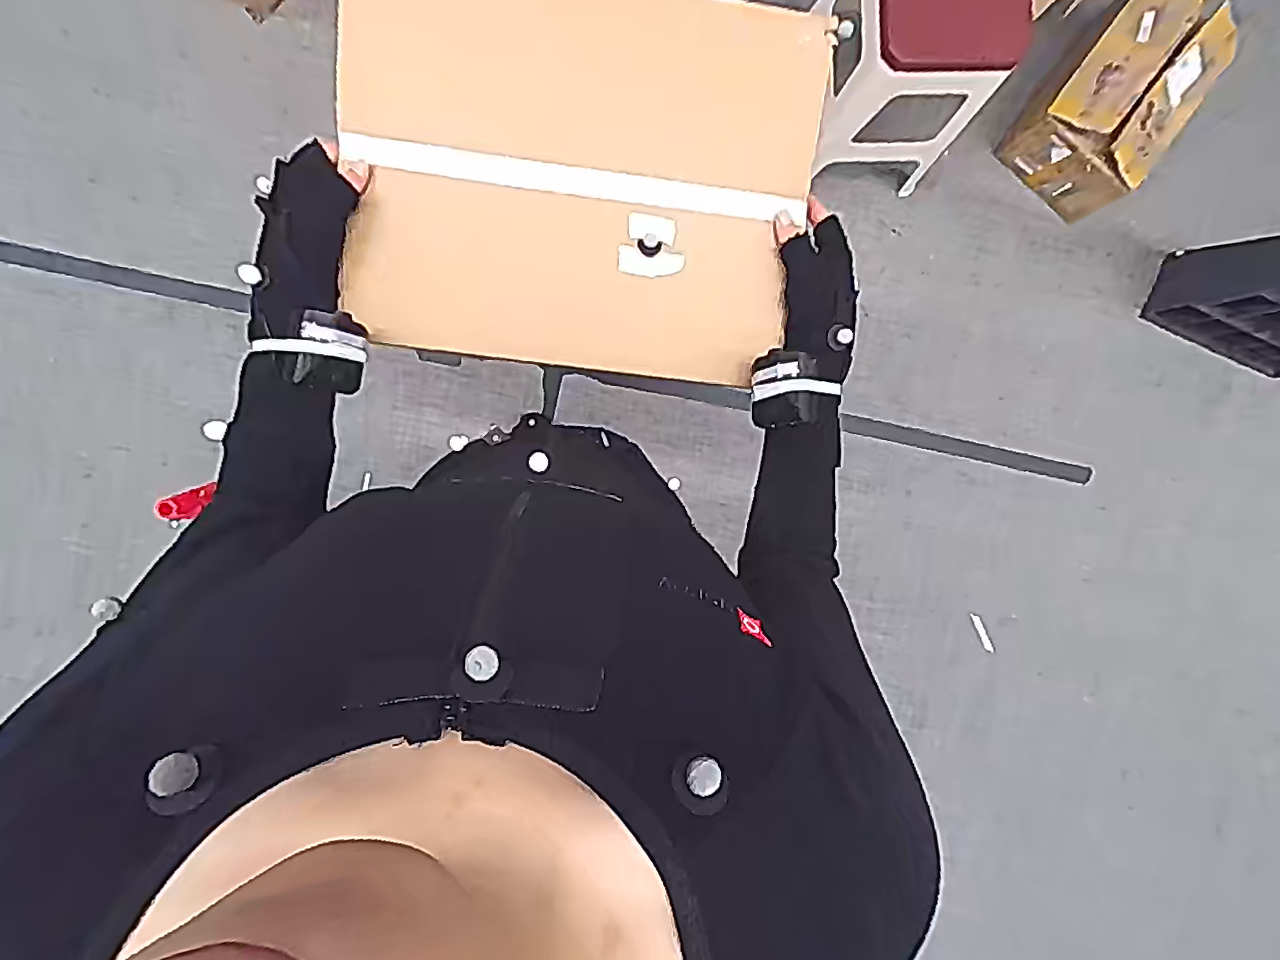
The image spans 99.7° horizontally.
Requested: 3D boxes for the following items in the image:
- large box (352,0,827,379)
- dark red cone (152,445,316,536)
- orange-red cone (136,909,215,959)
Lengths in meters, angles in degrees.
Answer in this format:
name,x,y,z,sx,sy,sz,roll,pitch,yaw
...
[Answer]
name,x,y,z,sx,sy,sz,roll,pitch,yaw
large box,-0.060,-0.291,0.624,0.408,0.320,0.320,6,101,-5
dark red cone,-0.924,0.038,1.211,0.201,0.394,0.202,17,93,-7
orange-red cone,-1.261,1.291,1.309,0.198,0.360,0.199,9,95,-5
